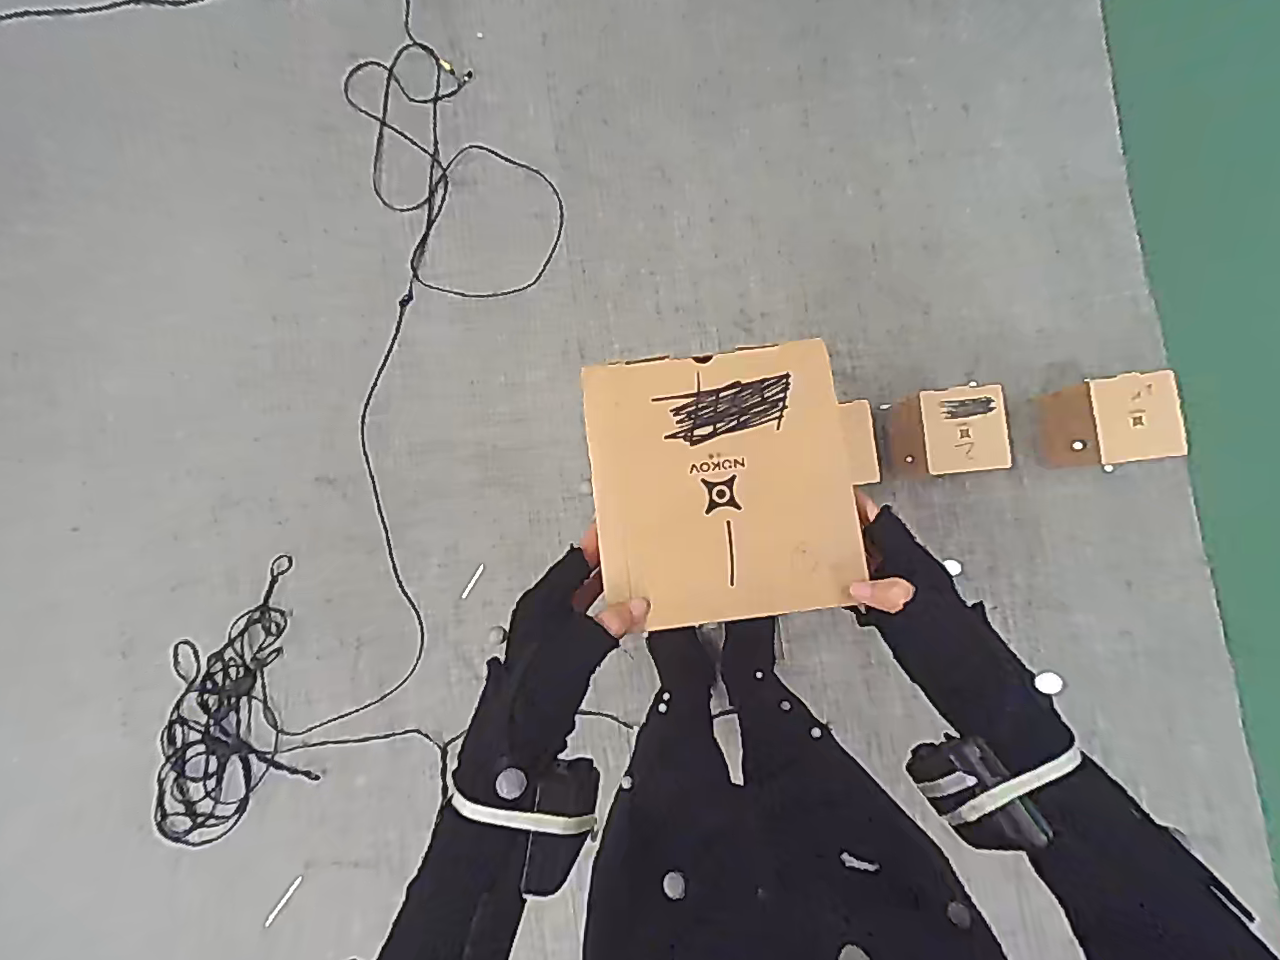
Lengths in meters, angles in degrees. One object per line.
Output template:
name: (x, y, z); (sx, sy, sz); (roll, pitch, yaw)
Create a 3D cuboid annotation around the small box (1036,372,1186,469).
small box: (0.993, -0.118, 1.155); (0.168, 0.176, 0.179); (-7, 86, 3)

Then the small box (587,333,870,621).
small box: (0.052, 0.007, 0.422); (0.168, 0.176, 0.179); (-6, 82, 0)

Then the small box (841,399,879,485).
small box: (0.406, -0.069, 1.193); (0.168, 0.176, 0.179); (-7, 86, 4)
